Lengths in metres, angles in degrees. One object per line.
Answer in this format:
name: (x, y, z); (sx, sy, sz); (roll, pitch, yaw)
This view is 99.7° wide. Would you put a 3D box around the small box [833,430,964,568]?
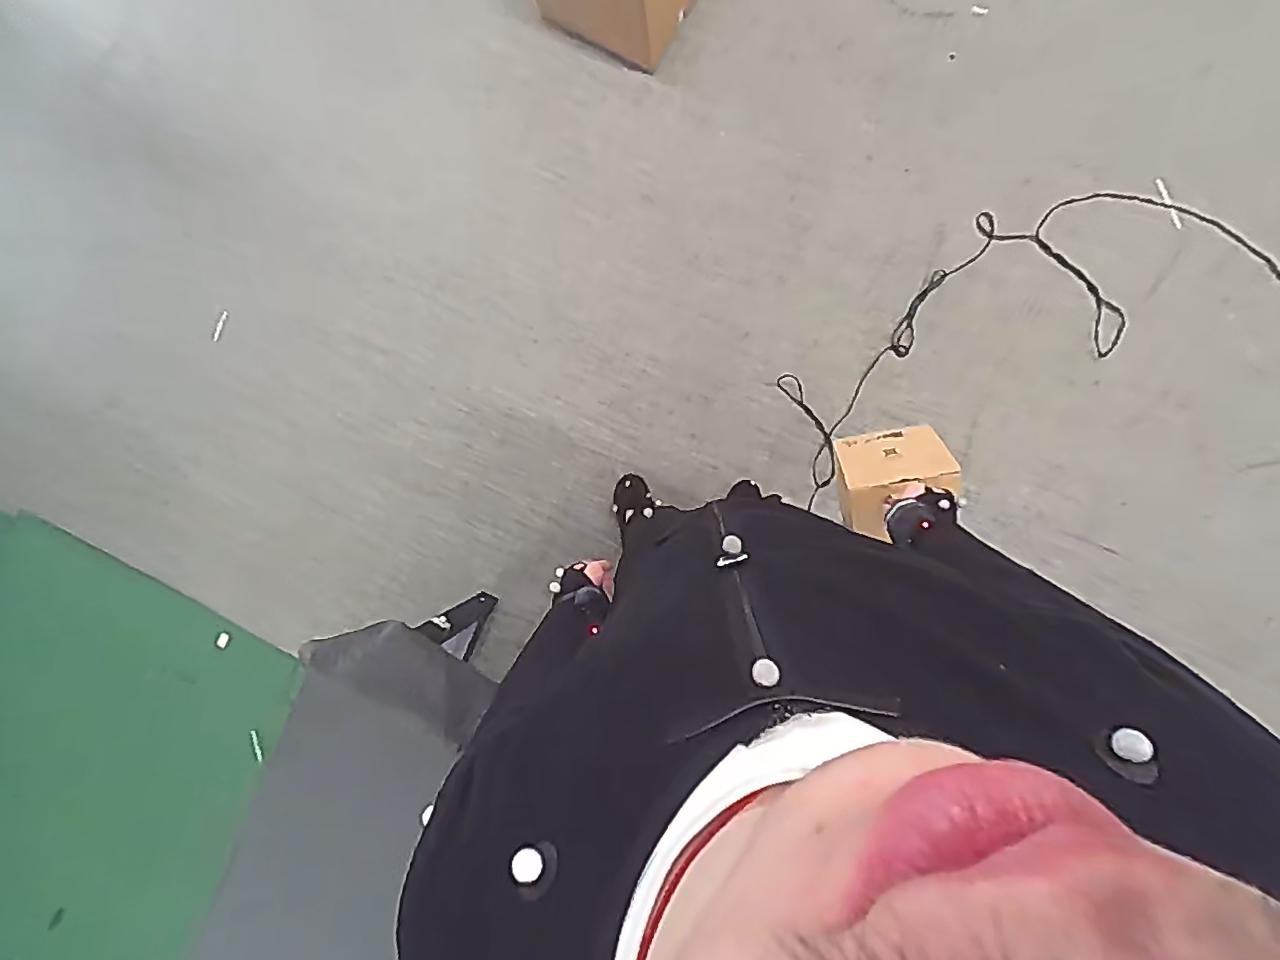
small box: (0.444, 0.038, 0.938); (0.168, 0.179, 0.176); (-11, 116, 14)
